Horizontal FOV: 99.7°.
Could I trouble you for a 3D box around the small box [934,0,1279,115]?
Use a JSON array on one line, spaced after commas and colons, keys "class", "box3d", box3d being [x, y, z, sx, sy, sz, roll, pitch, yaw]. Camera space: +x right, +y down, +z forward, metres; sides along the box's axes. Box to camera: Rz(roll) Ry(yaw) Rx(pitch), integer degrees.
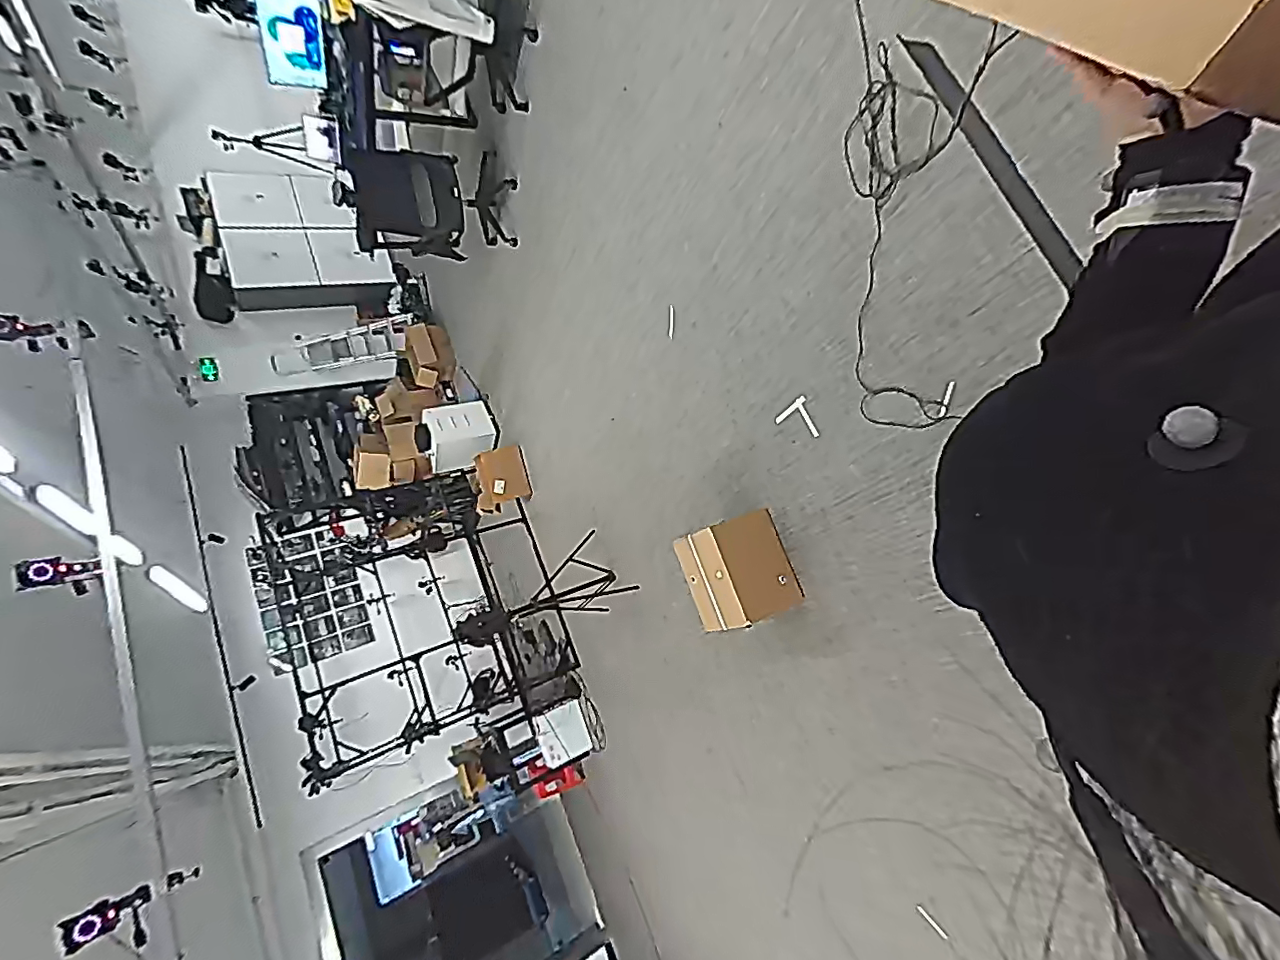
[{"class": "small box", "box3d": [0.303, -0.307, 0.270, 0.179, 0.176, 0.168, 61, 148, 32]}]
